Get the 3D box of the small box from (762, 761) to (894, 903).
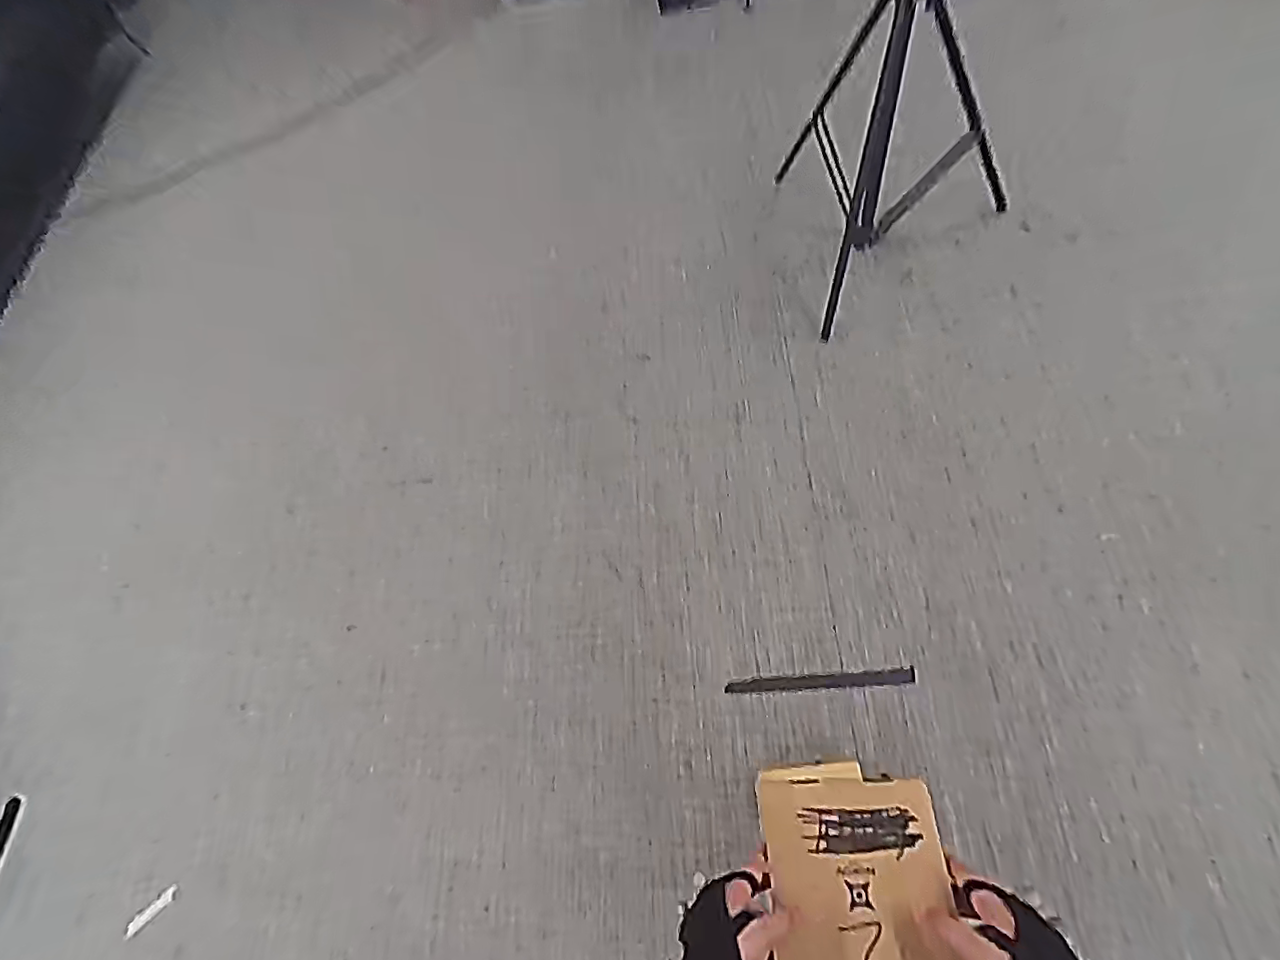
[{"bbox_3d":[0.303,0.579,0.911,0.168,0.176,0.179,-12,65,9],"label":"small box"}]
